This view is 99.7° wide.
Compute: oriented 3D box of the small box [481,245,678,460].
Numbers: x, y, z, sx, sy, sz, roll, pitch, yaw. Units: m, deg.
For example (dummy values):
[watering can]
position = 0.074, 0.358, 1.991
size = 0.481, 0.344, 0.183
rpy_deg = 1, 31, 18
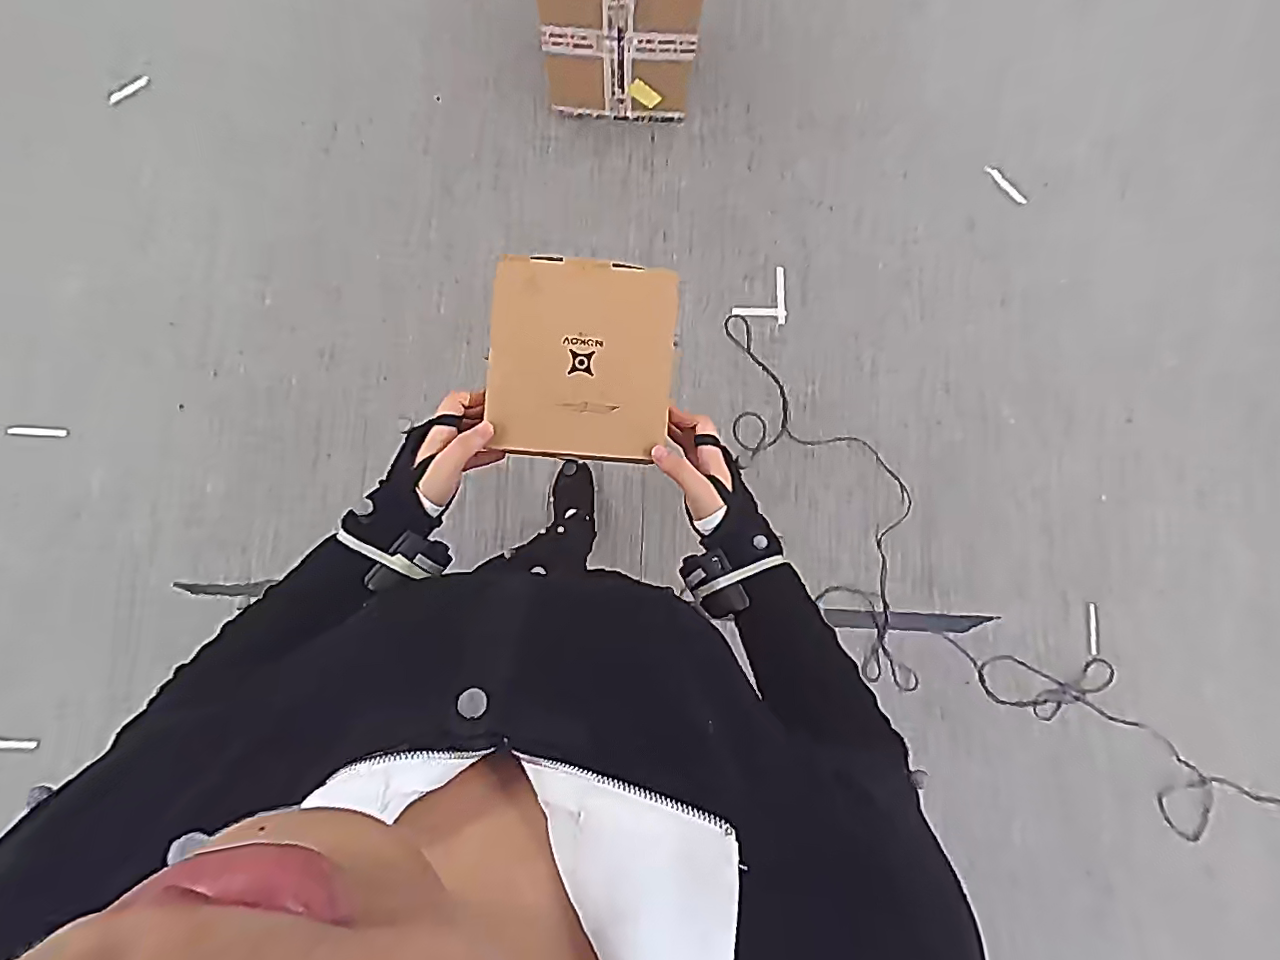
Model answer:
[small box]
position = -0.058, -0.116, 0.560
size = 0.168, 0.176, 0.179
rpy_deg = 4, 91, -3
